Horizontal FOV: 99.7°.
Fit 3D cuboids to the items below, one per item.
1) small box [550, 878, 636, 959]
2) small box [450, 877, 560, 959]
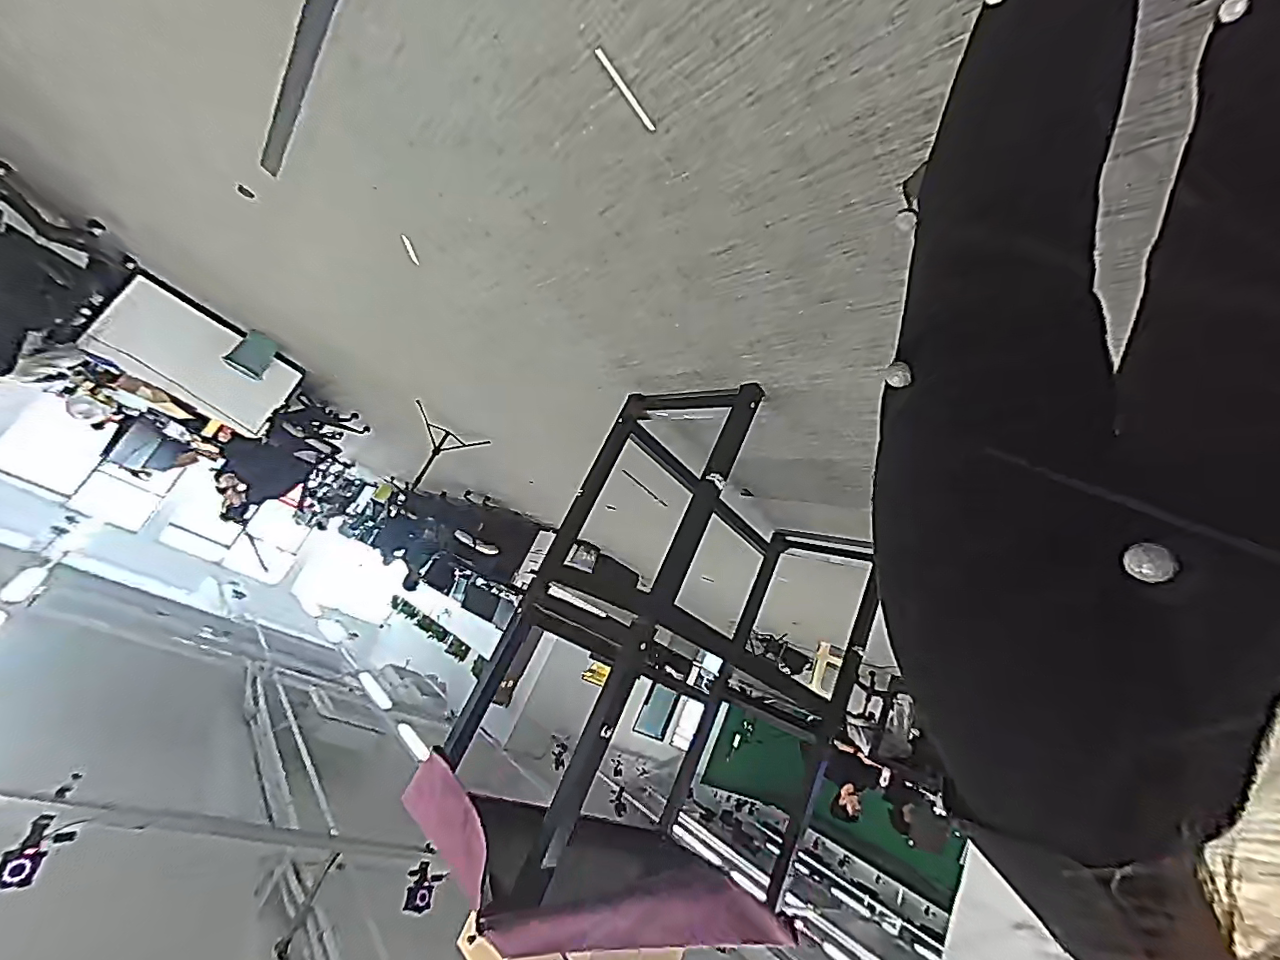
[{"bbox_3d":[-0.134,1.294,1.561,0.168,0.176,0.179,37,161,-32],"label":"small box"},{"bbox_3d":[-0.331,1.130,1.351,0.179,0.176,0.168,9,157,45],"label":"small box"}]
